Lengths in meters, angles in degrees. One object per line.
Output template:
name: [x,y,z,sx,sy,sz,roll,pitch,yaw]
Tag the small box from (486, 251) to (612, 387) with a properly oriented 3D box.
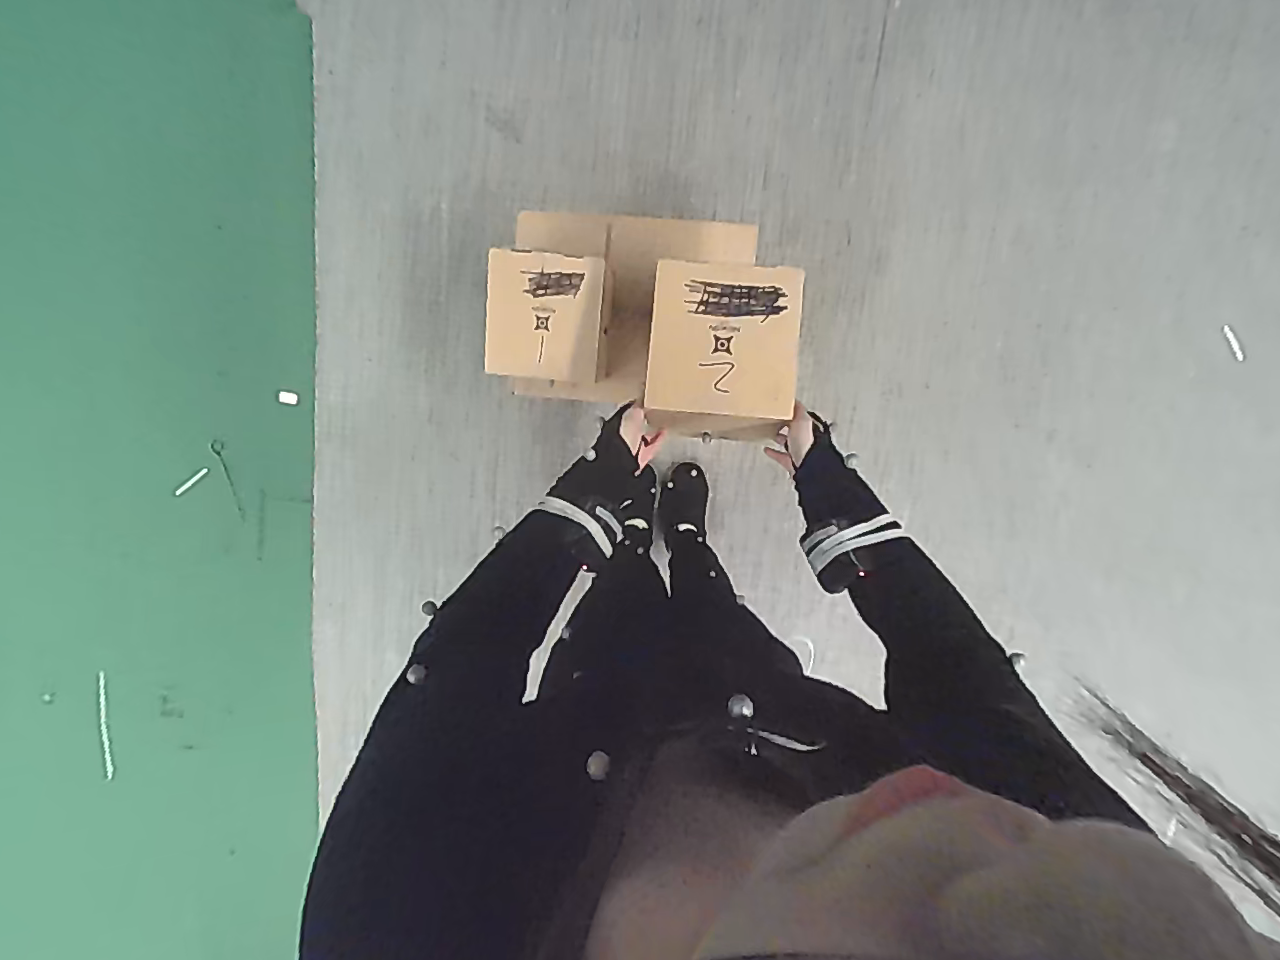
small box: [-0.136,-0.248,0.858,0.168,0.176,0.179,6,103,0]
